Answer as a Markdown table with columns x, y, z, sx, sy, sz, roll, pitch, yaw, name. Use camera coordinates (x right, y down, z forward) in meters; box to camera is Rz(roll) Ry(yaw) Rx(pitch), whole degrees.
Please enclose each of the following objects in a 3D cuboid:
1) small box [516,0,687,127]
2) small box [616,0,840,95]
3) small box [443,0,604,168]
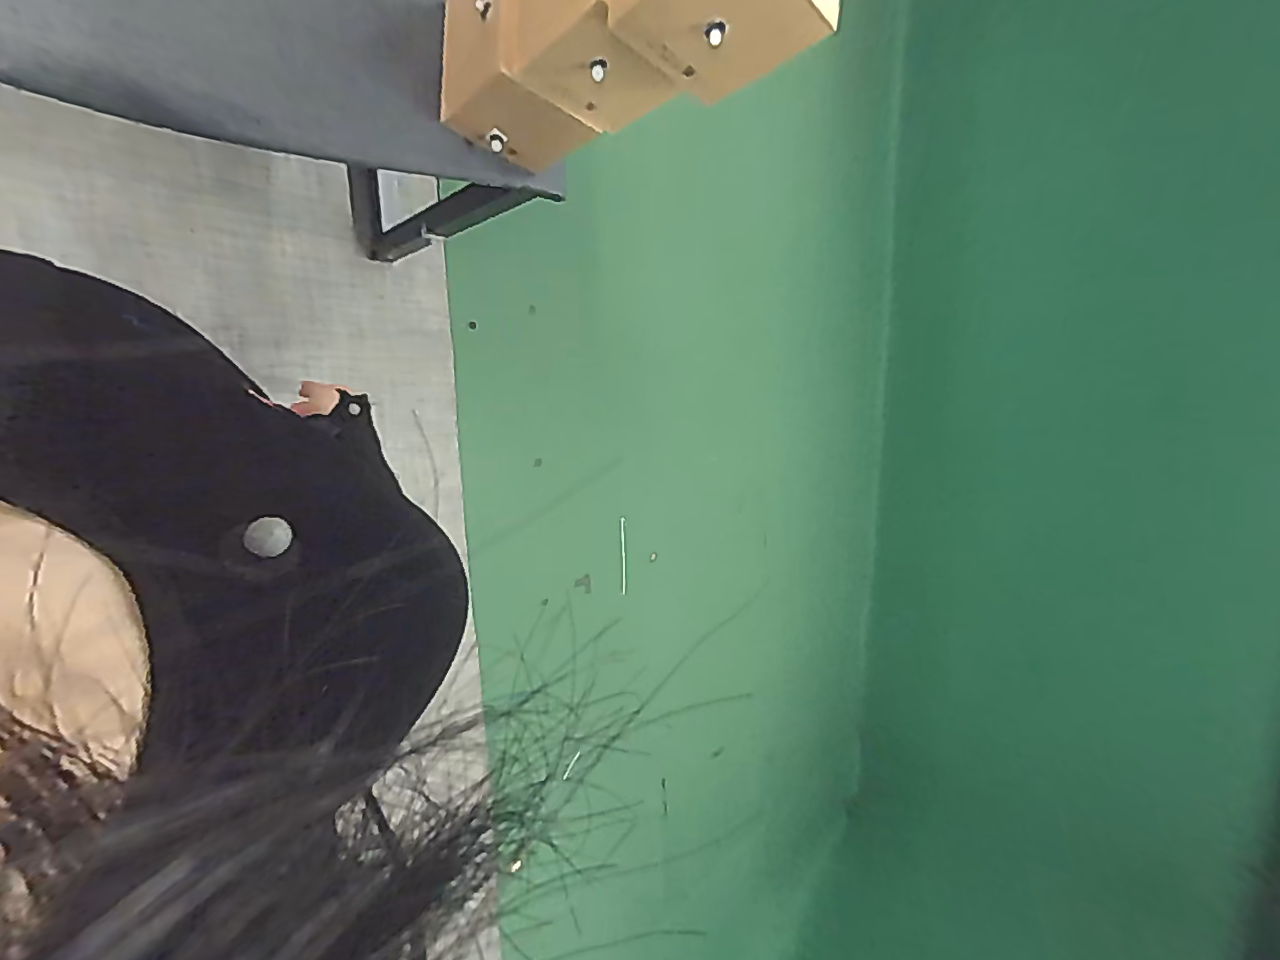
| x | y | z | sx | sy | sz | roll | pitch | yaw | name |
| --- | --- | --- | --- | --- | --- | --- | --- | --- | --- |
| -0.036 | -0.569 | 0.648 | 0.168 | 0.176 | 0.179 | -1 | 93 | -44 | small box |
| 0.085 | -0.536 | 0.537 | 0.168 | 0.176 | 0.179 | 1 | 92 | -45 | small box |
| -0.160 | -0.578 | 0.752 | 0.168 | 0.176 | 0.179 | 2 | 93 | -44 | small box |
